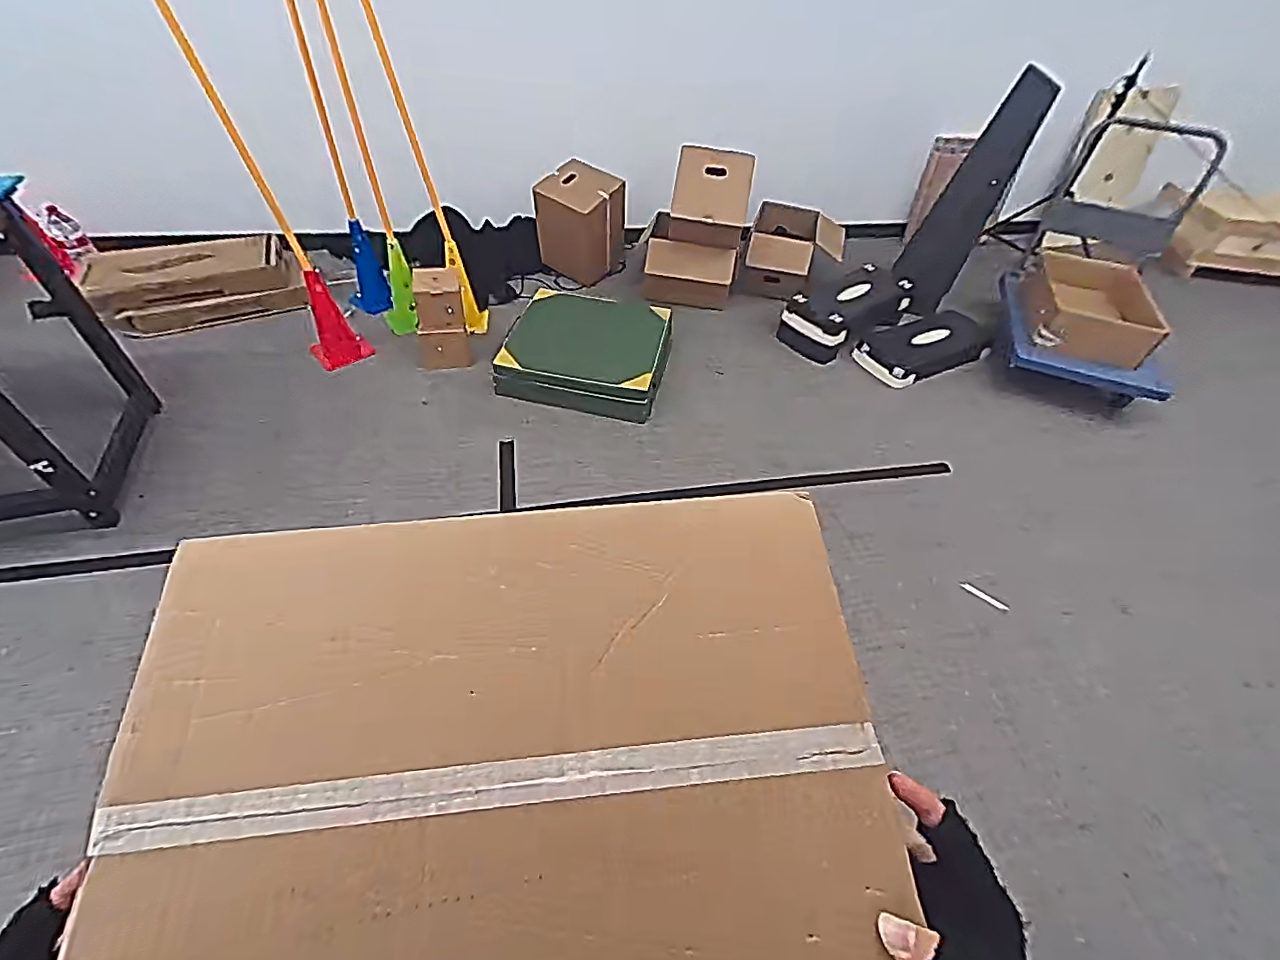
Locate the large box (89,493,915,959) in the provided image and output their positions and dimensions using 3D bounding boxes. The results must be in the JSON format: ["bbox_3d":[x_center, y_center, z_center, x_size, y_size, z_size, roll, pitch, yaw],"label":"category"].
[{"bbox_3d":[-0.076,0.229,0.432,0.408,0.320,0.320,-4,64,-3],"label":"large box"}]
